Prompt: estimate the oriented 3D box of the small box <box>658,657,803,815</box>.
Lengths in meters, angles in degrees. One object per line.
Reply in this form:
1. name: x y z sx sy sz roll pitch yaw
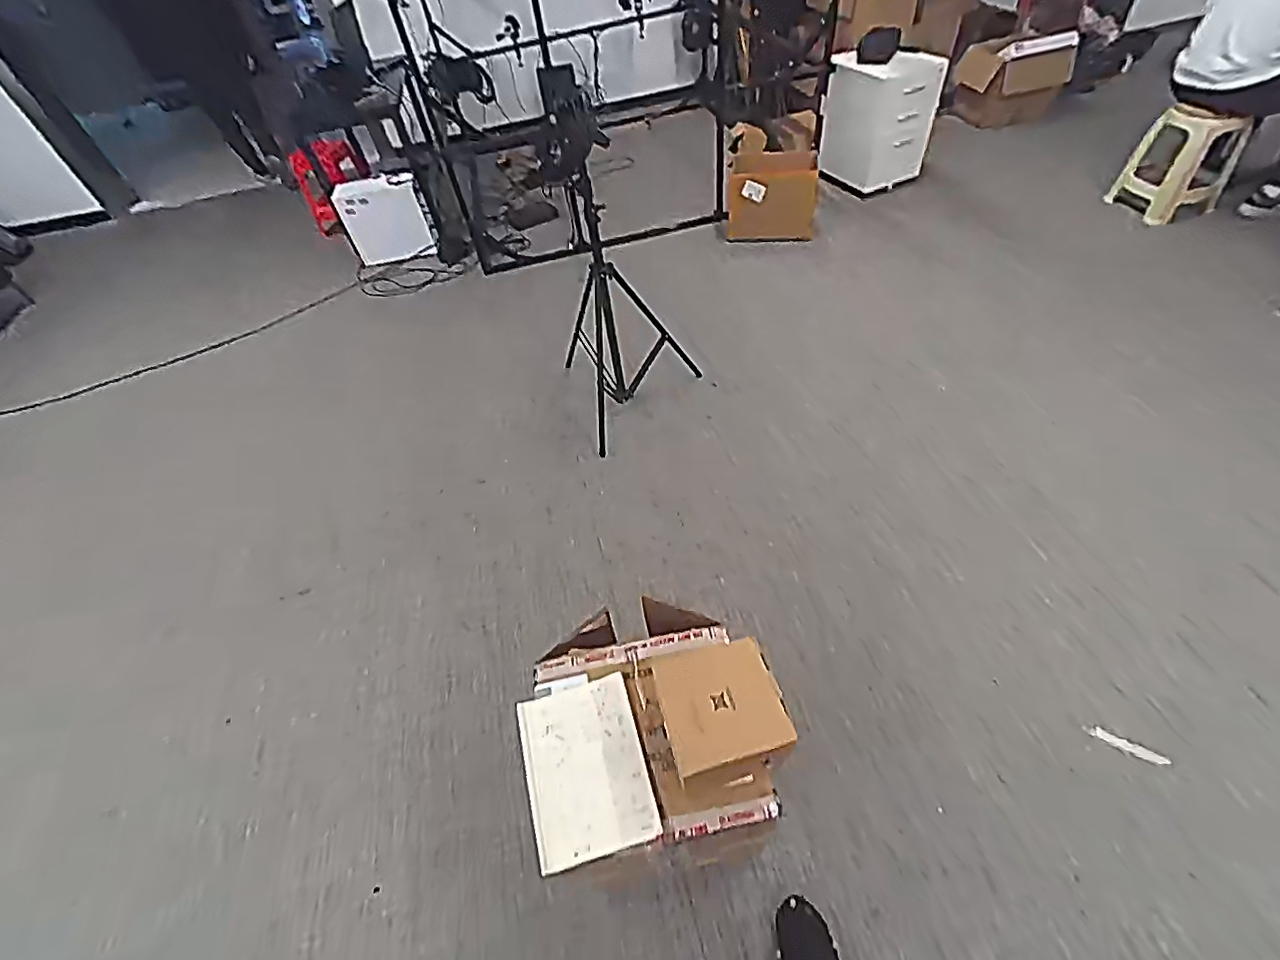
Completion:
1. small box: 0.136 0.415 0.872 0.179 0.176 0.168 -15 50 -6
